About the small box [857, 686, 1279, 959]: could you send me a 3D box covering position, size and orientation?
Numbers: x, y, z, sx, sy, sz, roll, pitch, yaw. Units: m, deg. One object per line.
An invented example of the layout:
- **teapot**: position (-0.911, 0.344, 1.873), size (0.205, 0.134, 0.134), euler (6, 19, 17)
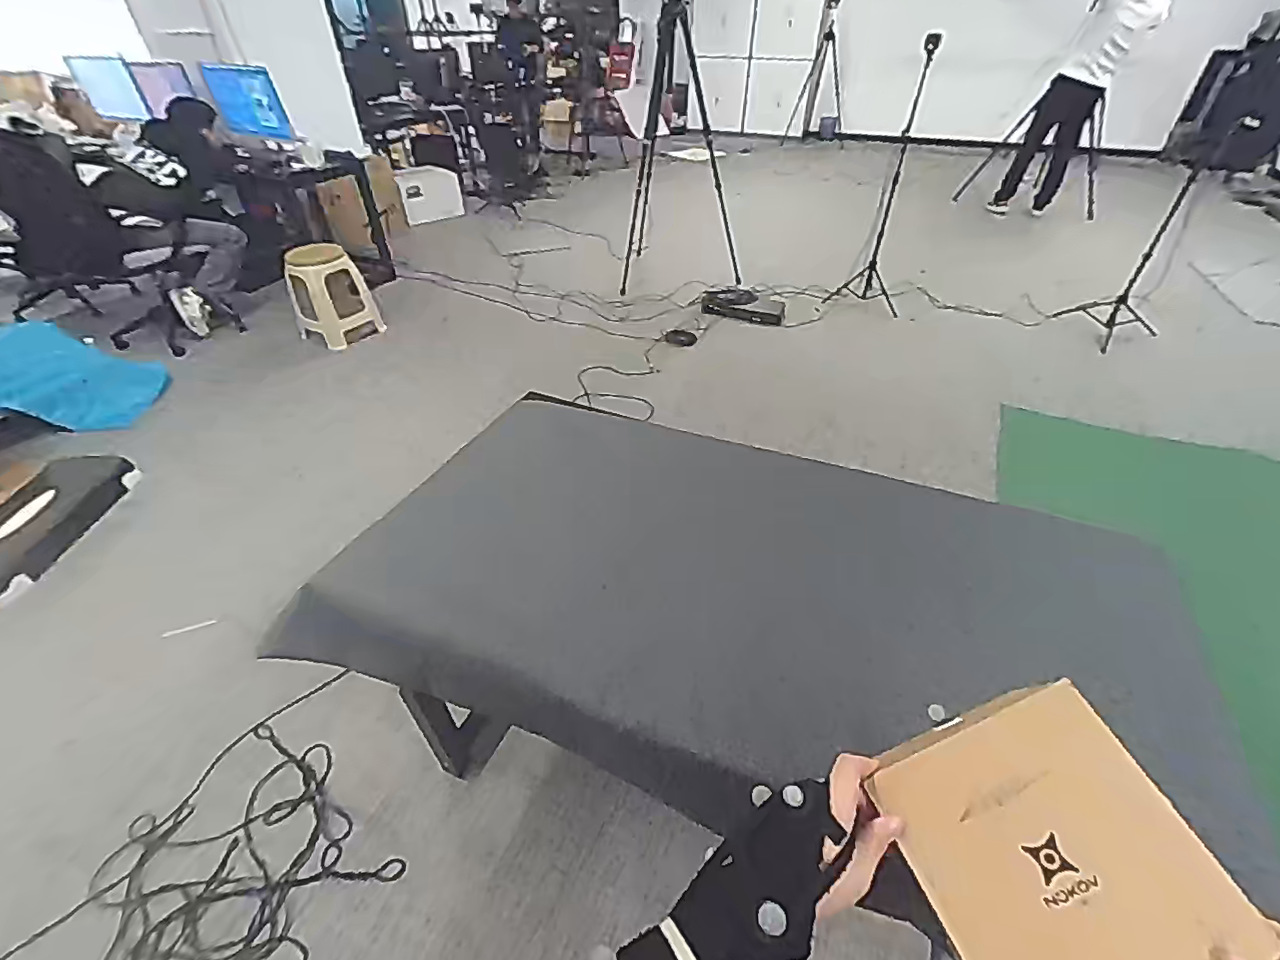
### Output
- **small box**: position (0.292, 0.283, 0.420), size (0.168, 0.176, 0.179), euler (-30, 59, 3)
